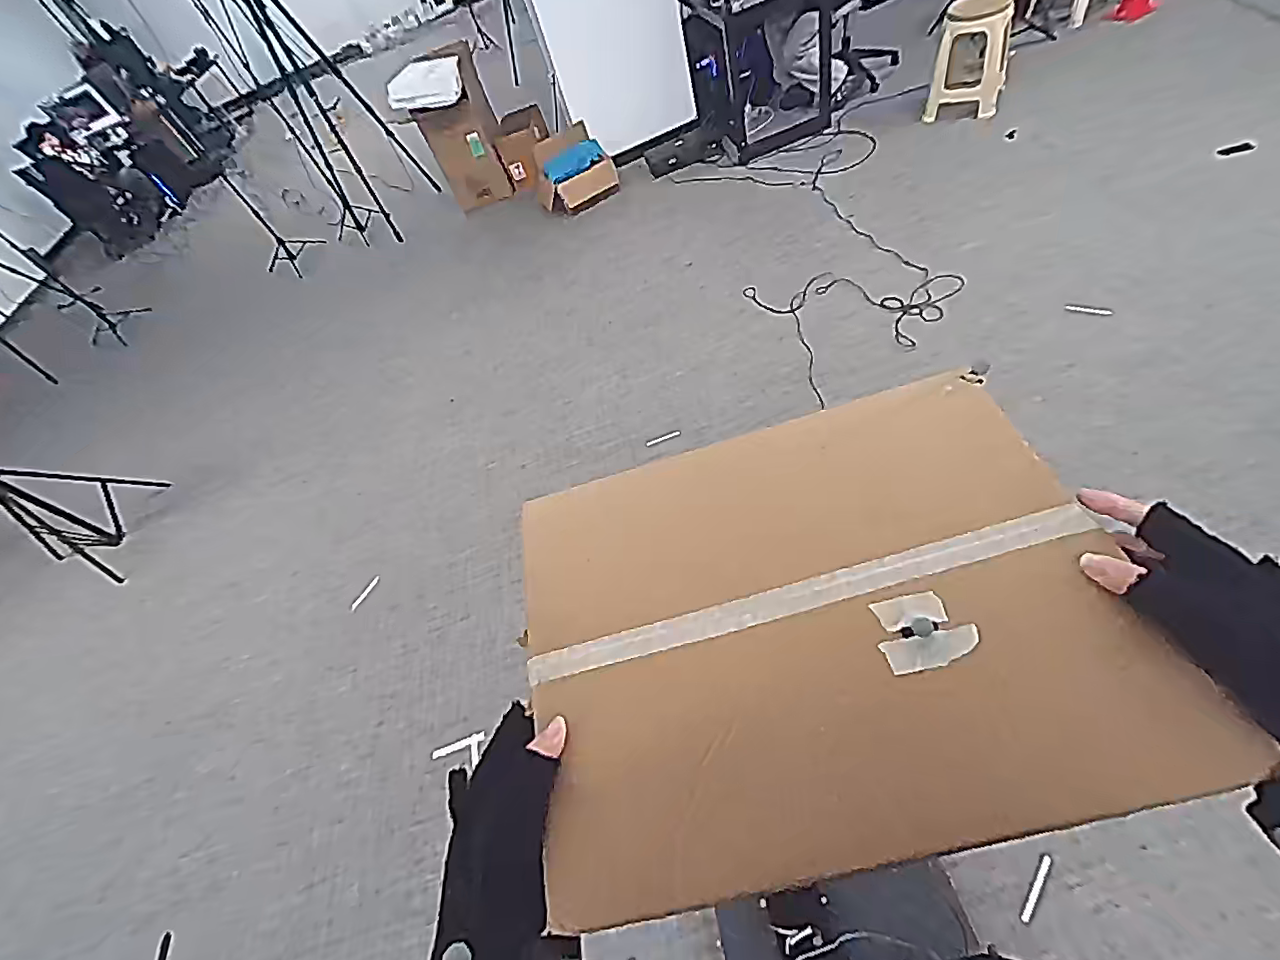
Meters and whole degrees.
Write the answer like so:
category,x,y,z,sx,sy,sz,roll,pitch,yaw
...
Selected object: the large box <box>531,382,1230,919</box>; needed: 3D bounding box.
category,x,y,z,sx,sy,sz,roll,pitch,yaw
large box,0.148,0.173,0.521,0.408,0.320,0.320,-17,54,5
